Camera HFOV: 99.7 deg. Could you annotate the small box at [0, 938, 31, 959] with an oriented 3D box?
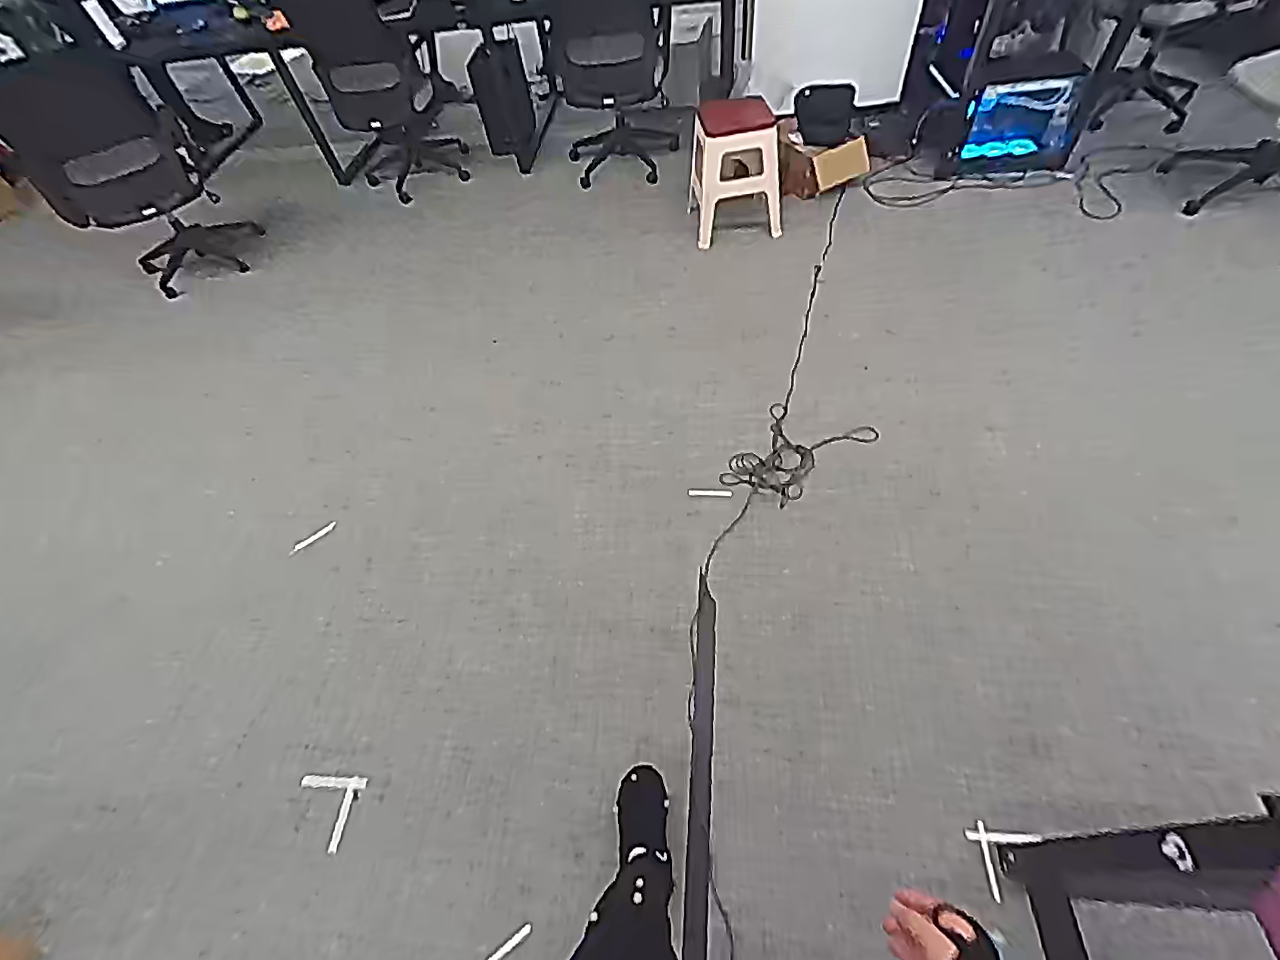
[{"bbox_3d":[-1.465,1.070,1.126,0.179,0.176,0.168,-3,54,6],"label":"small box"}]
